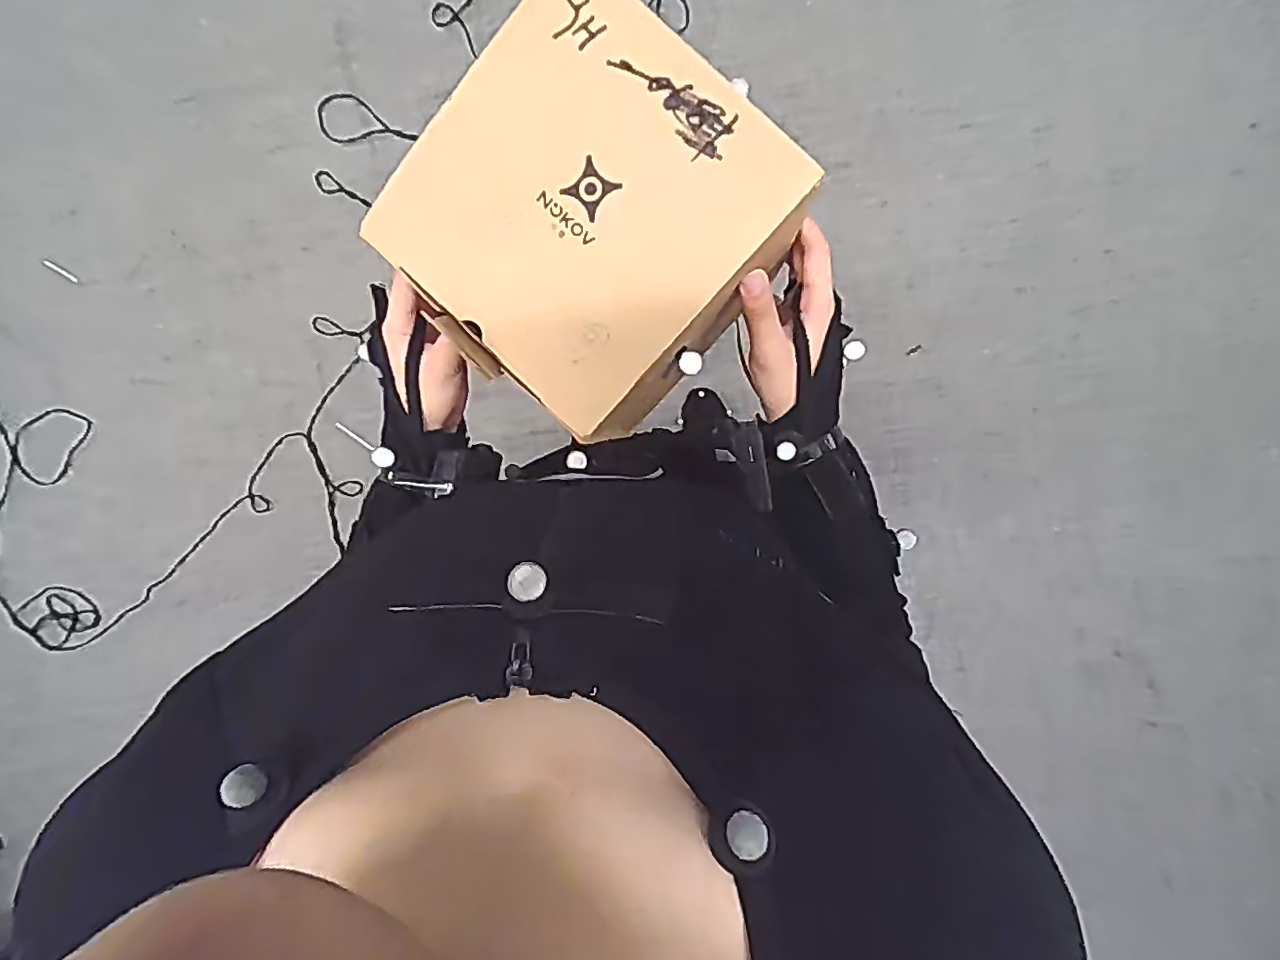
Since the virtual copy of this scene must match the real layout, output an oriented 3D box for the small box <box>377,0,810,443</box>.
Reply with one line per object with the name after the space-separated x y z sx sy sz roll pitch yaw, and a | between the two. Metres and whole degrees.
-0.019 -0.144 0.357 0.168 0.176 0.179 43 100 0 | small box
